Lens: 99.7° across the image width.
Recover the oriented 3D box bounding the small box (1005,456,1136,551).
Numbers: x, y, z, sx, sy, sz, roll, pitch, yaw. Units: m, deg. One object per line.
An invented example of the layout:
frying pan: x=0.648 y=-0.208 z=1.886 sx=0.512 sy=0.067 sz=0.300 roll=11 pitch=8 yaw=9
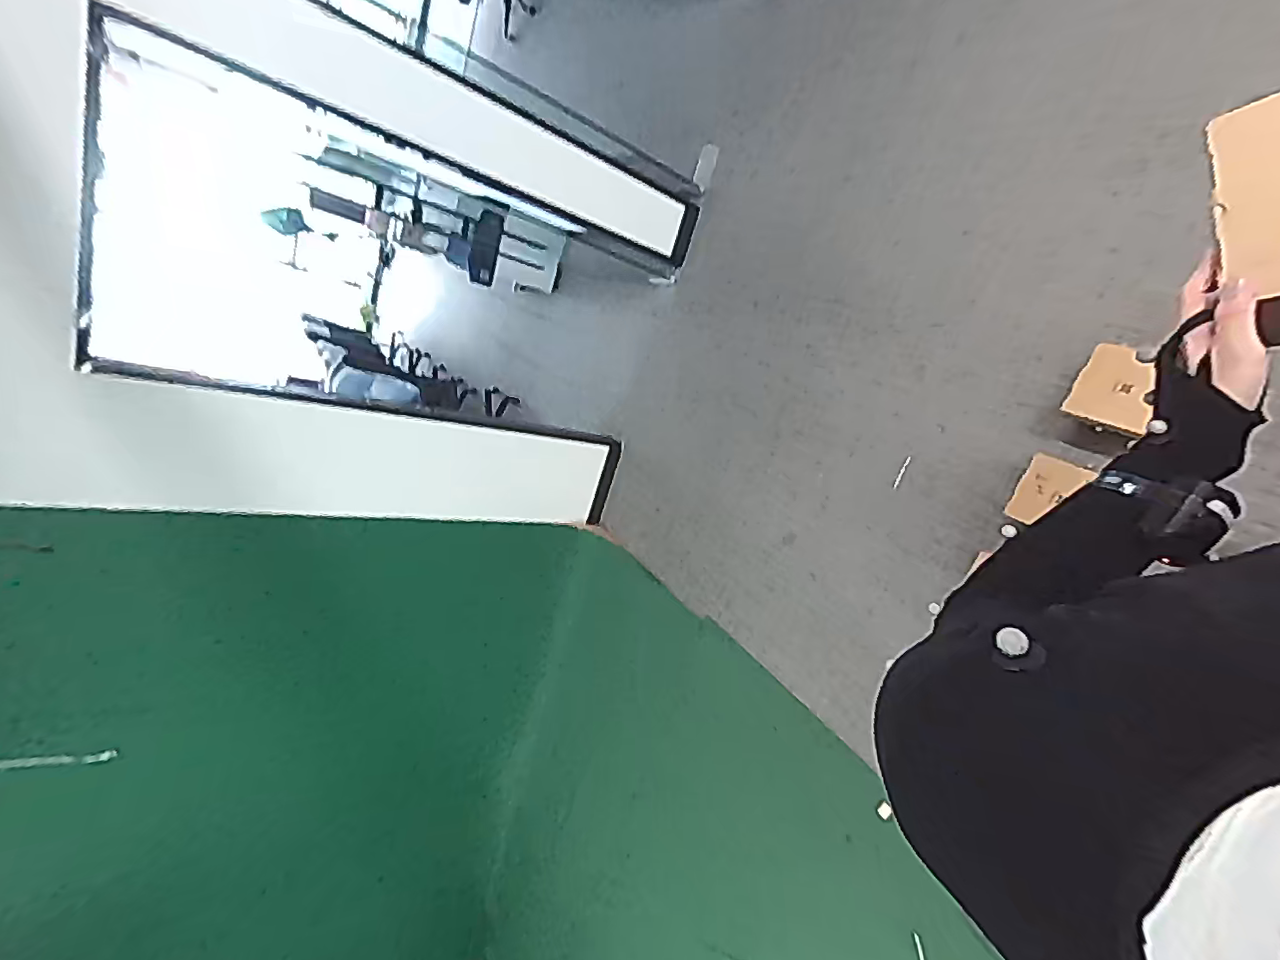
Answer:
small box: x=1.030 y=0.056 z=1.291 sx=0.179 sy=0.176 sz=0.168 roll=37 pitch=113 yaw=48

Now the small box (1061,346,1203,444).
small box: x=1.115 y=-0.189 z=1.224 sx=0.179 sy=0.176 sz=0.168 roll=37 pitch=114 yaw=48
